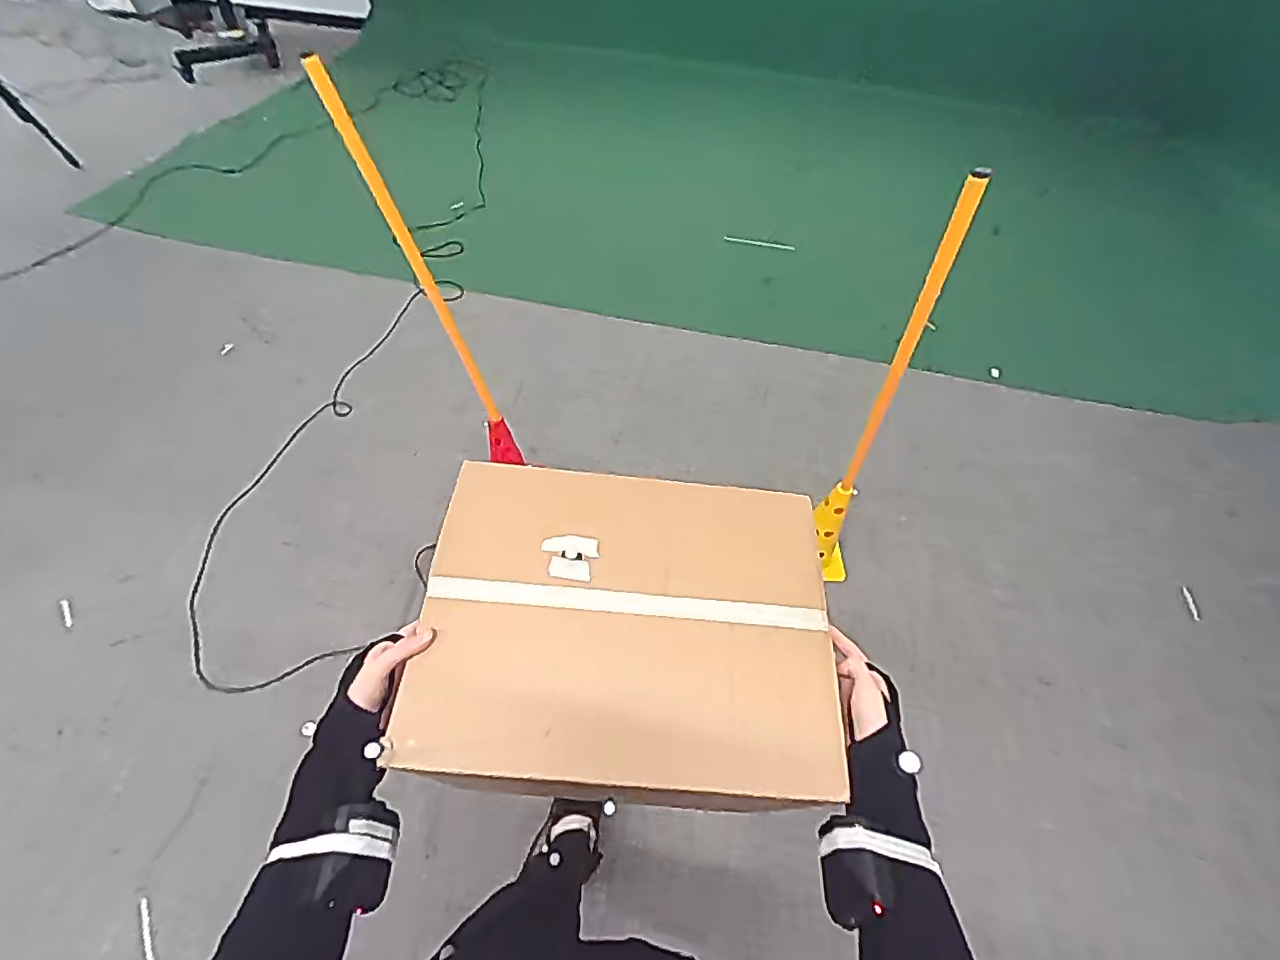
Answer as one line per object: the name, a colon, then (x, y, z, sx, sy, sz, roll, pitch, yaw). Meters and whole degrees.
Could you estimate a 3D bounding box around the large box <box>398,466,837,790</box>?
large box: (-0.019, 0.205, 0.687, 0.408, 0.320, 0.320, 5, 56, -2)
